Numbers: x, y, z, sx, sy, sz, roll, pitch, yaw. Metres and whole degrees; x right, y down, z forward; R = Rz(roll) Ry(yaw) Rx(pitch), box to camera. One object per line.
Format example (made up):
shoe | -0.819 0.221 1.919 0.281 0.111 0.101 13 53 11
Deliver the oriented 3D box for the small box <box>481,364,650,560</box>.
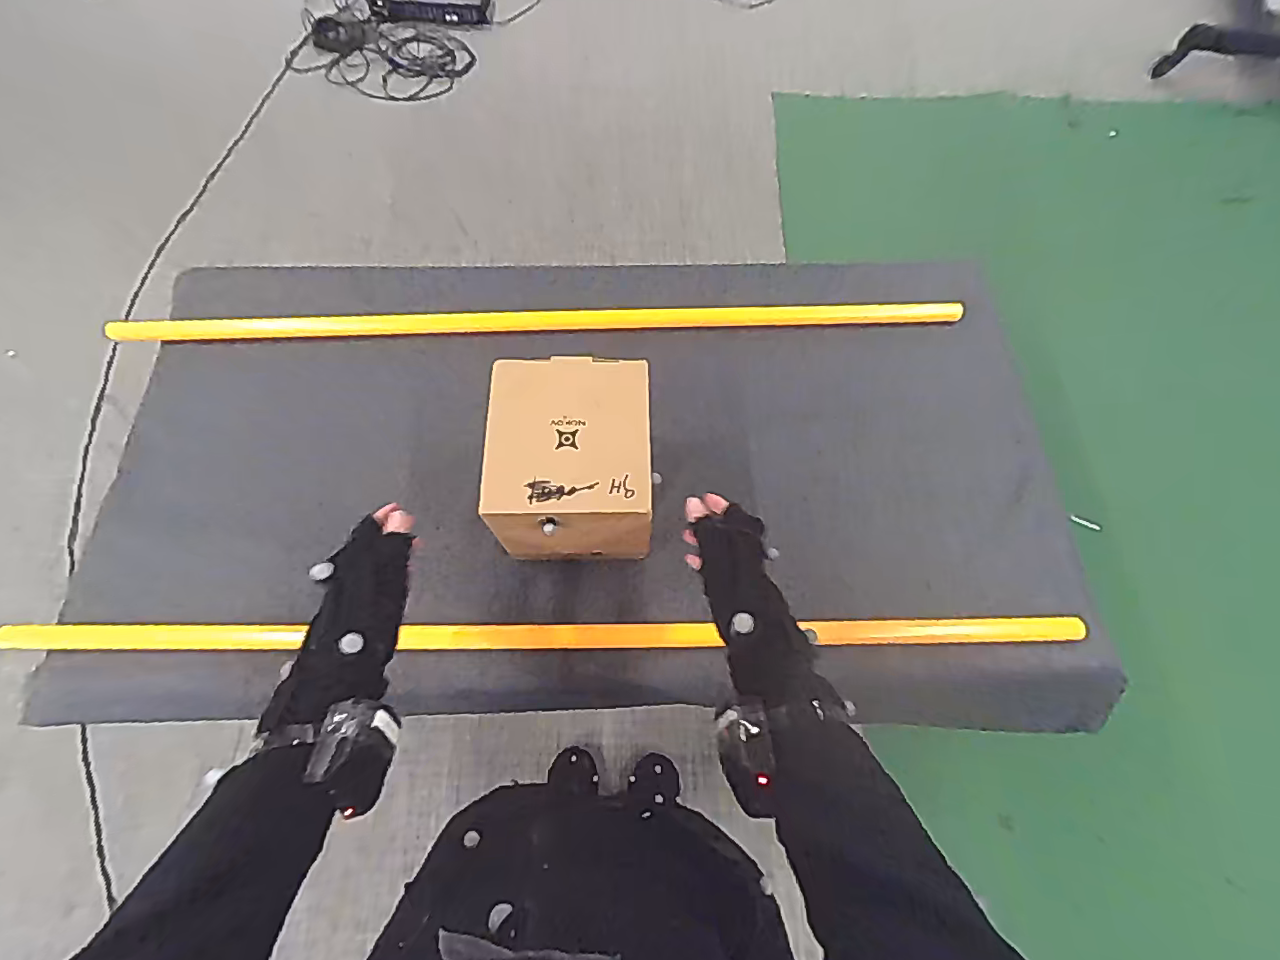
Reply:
small box | -0.074 -0.015 0.626 0.168 0.176 0.179 -1 66 -1
